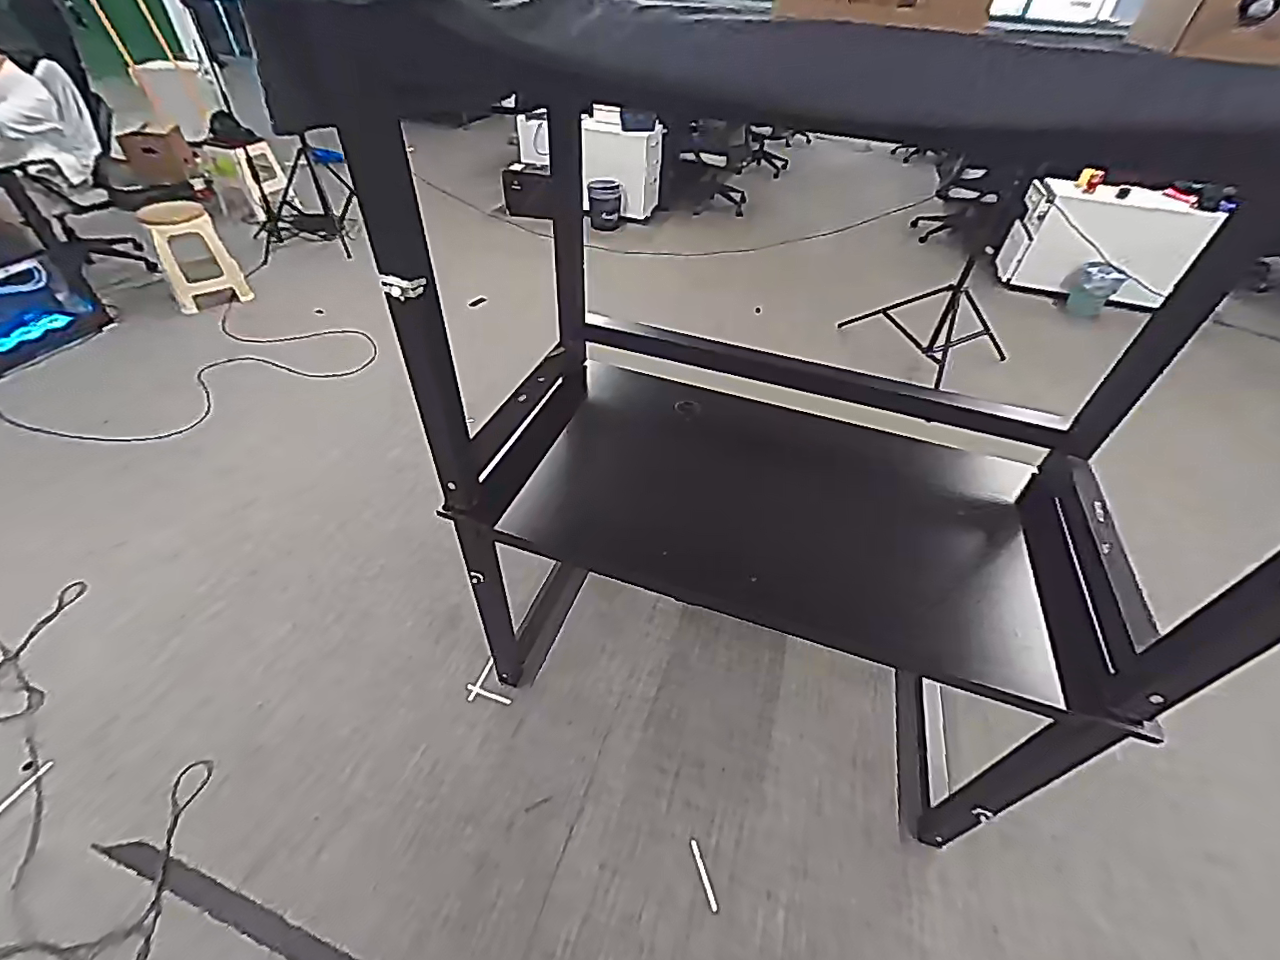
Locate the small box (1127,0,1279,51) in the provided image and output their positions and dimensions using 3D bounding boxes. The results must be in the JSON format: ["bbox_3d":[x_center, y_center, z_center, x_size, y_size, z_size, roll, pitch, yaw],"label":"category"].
[{"bbox_3d":[0.502,-0.408,0.380,0.168,0.176,0.179,18,44,15],"label":"small box"}]

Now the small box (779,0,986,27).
[{"bbox_3d":[0.218,-0.484,0.436,0.168,0.176,0.179,16,43,13],"label":"small box"}]
